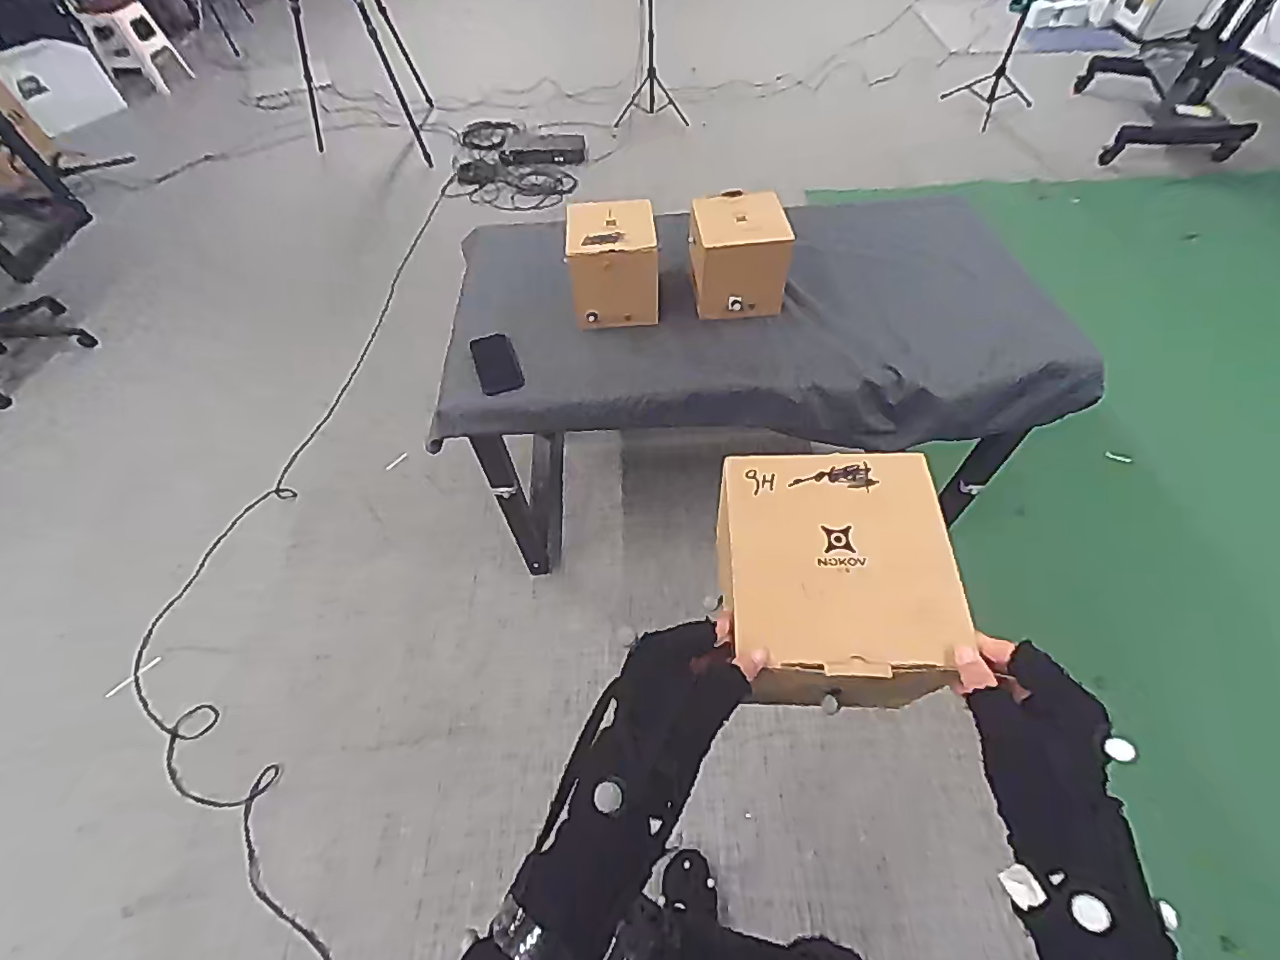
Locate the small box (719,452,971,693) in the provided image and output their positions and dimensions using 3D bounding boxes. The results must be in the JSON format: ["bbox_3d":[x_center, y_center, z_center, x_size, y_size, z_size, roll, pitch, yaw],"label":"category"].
[{"bbox_3d":[0.160,0.091,0.491,0.168,0.176,0.179,0,60,4],"label":"small box"}]

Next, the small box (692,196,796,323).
[{"bbox_3d":[0.198,-0.439,1.083,0.168,0.176,0.179,-5,56,-1],"label":"small box"}]

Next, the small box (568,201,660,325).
[{"bbox_3d":[-0.048,-0.425,1.077,0.168,0.176,0.179,-4,53,-1],"label":"small box"}]
